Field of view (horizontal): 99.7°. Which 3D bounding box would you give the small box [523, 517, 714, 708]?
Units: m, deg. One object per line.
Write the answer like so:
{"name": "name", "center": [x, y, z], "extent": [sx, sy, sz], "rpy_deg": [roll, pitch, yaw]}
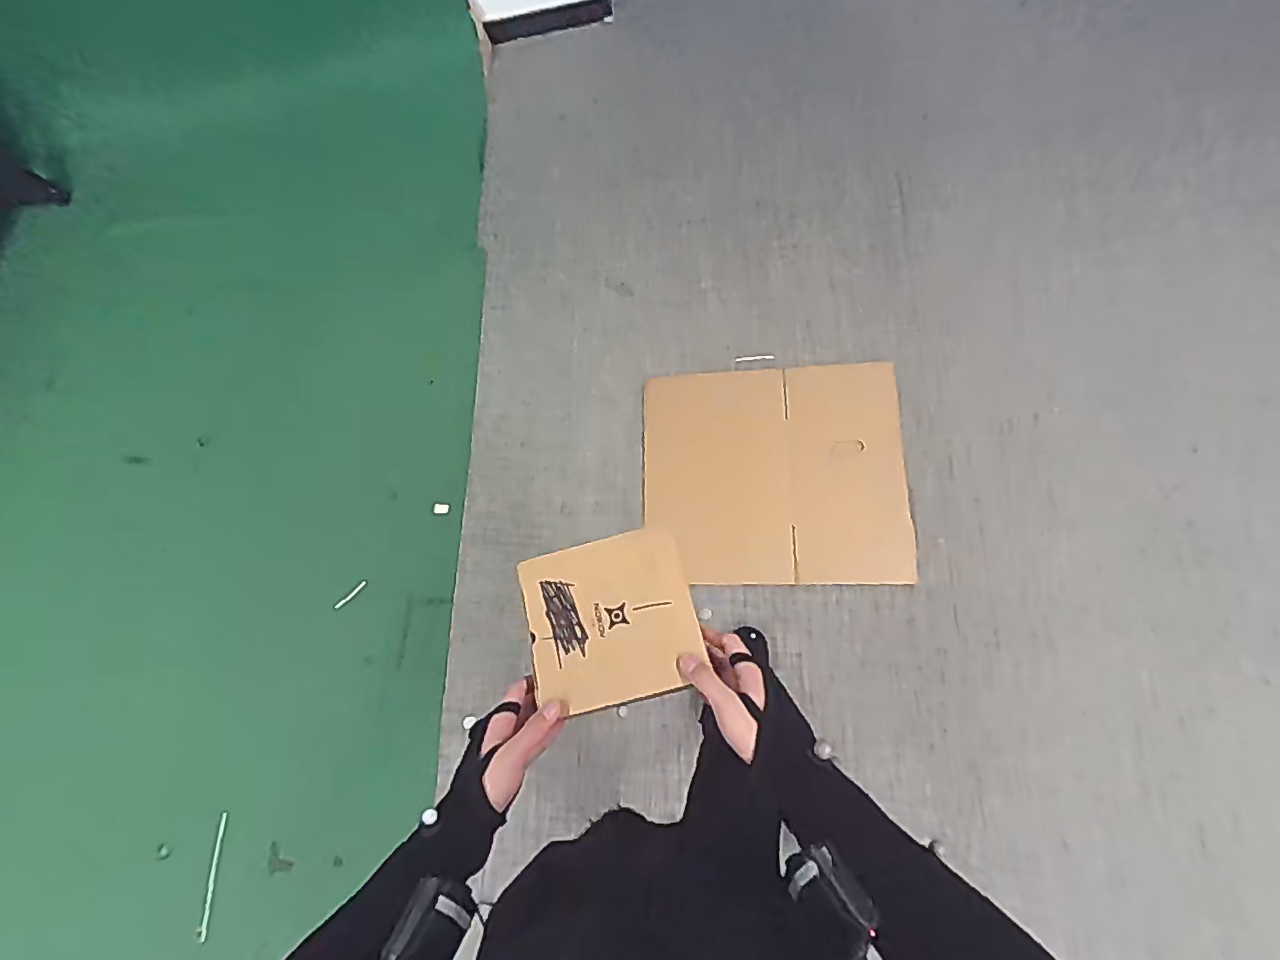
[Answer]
{"name": "small box", "center": [-0.018, 0.163, 0.633], "extent": [0.179, 0.176, 0.168], "rpy_deg": [-15, 67, 2]}
